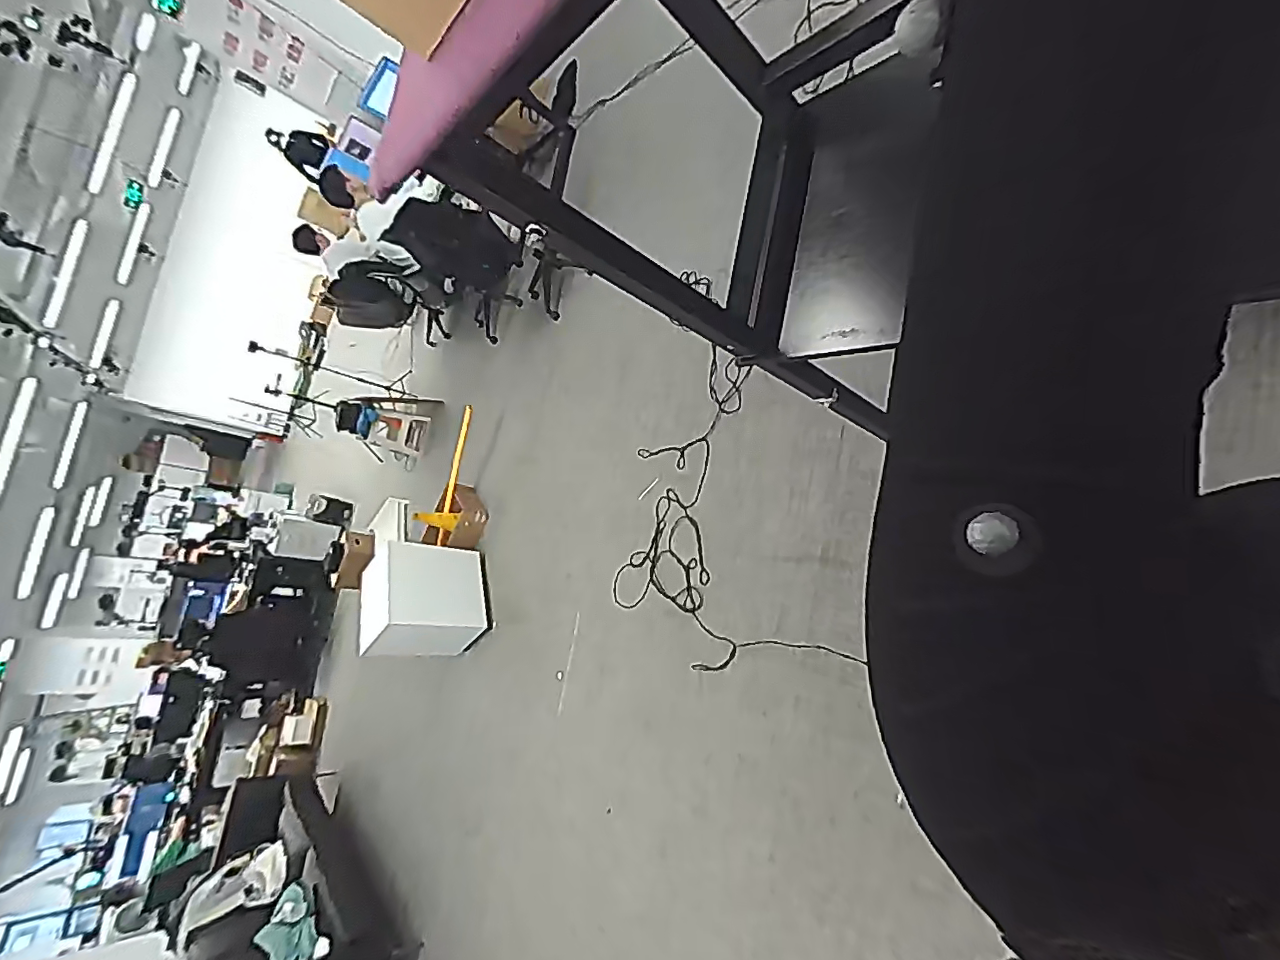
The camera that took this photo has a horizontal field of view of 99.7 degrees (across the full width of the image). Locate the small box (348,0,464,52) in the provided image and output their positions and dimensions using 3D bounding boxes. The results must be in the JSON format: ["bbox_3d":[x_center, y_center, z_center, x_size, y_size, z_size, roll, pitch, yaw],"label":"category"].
[{"bbox_3d":[-0.230,-0.557,0.495,0.179,0.176,0.168,4,82,49],"label":"small box"}]
